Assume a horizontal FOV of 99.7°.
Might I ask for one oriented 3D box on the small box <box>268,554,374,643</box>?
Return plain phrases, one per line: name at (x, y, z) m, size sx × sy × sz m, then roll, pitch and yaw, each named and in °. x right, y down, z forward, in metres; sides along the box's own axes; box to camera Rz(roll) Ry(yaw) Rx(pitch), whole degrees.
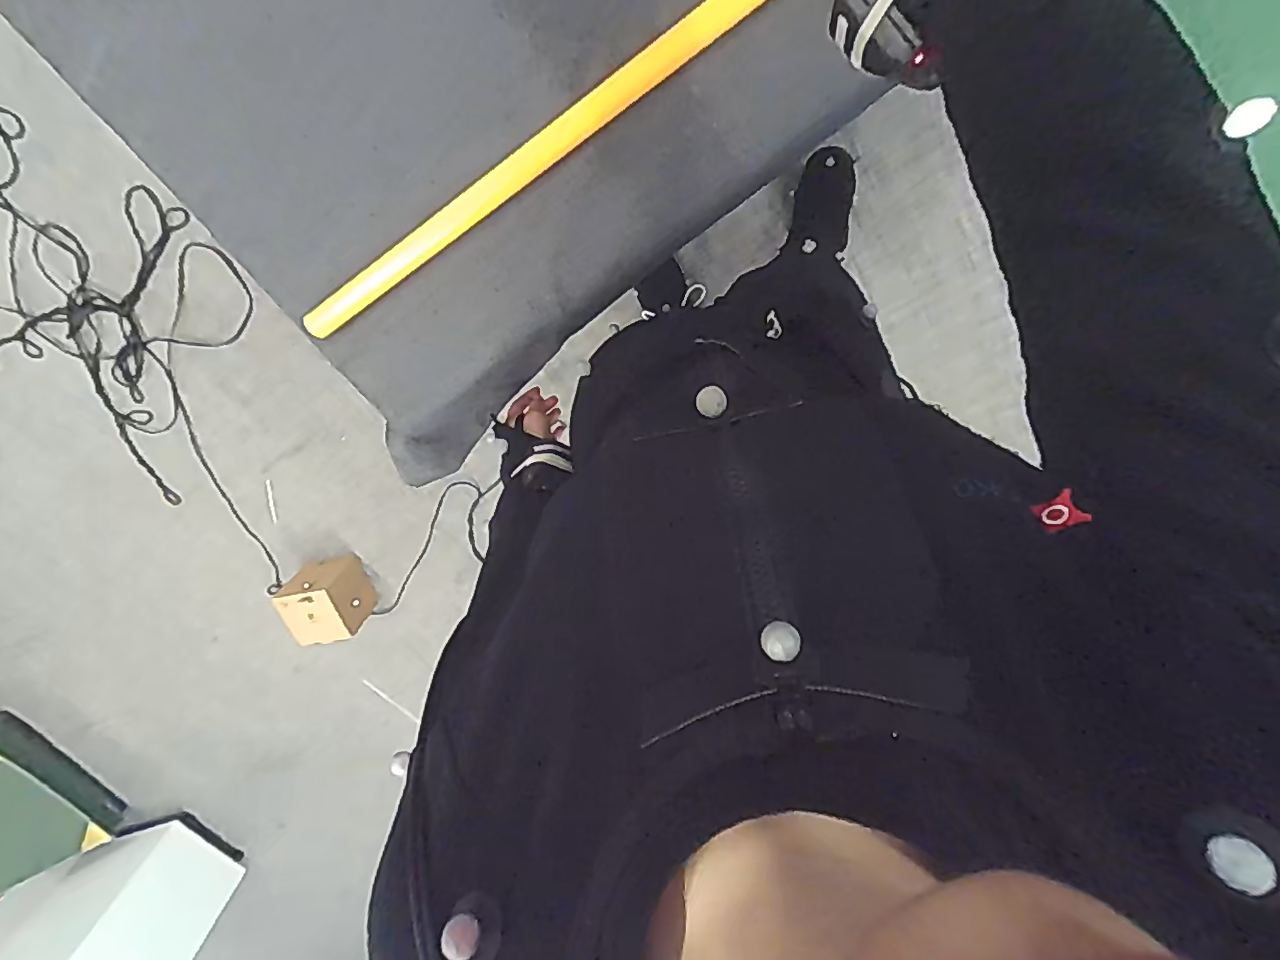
small box at (-0.902, 0.338, 1.552) m, size 0.168 × 0.176 × 0.179 m, roll -10°, pitch 116°, yaw 7°
